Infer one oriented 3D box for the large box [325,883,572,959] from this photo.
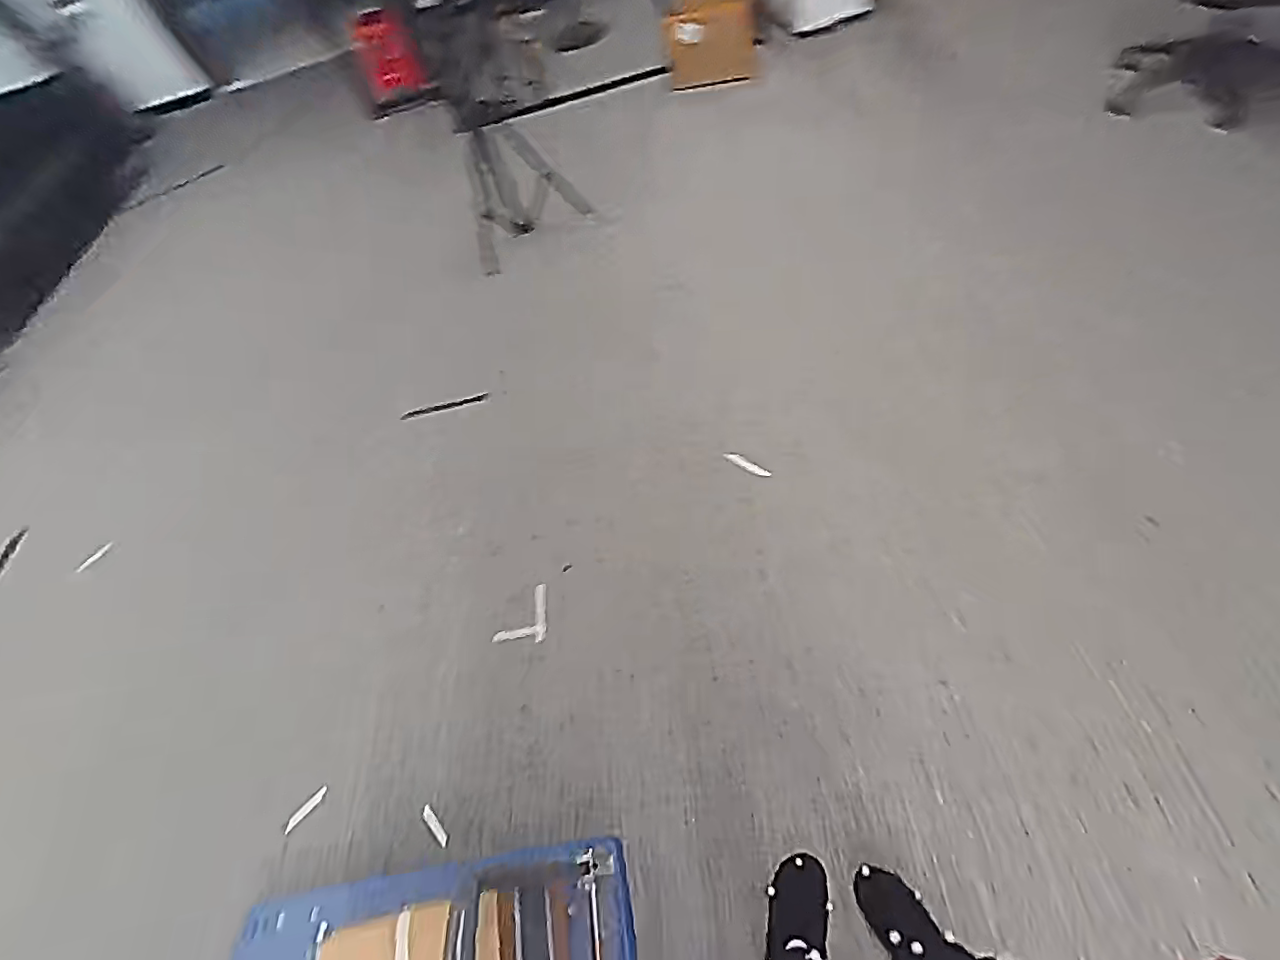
[{"bbox_3d":[-0.291,0.936,0.875,0.320,0.320,0.408,-17,53,3],"label":"large box"}]
